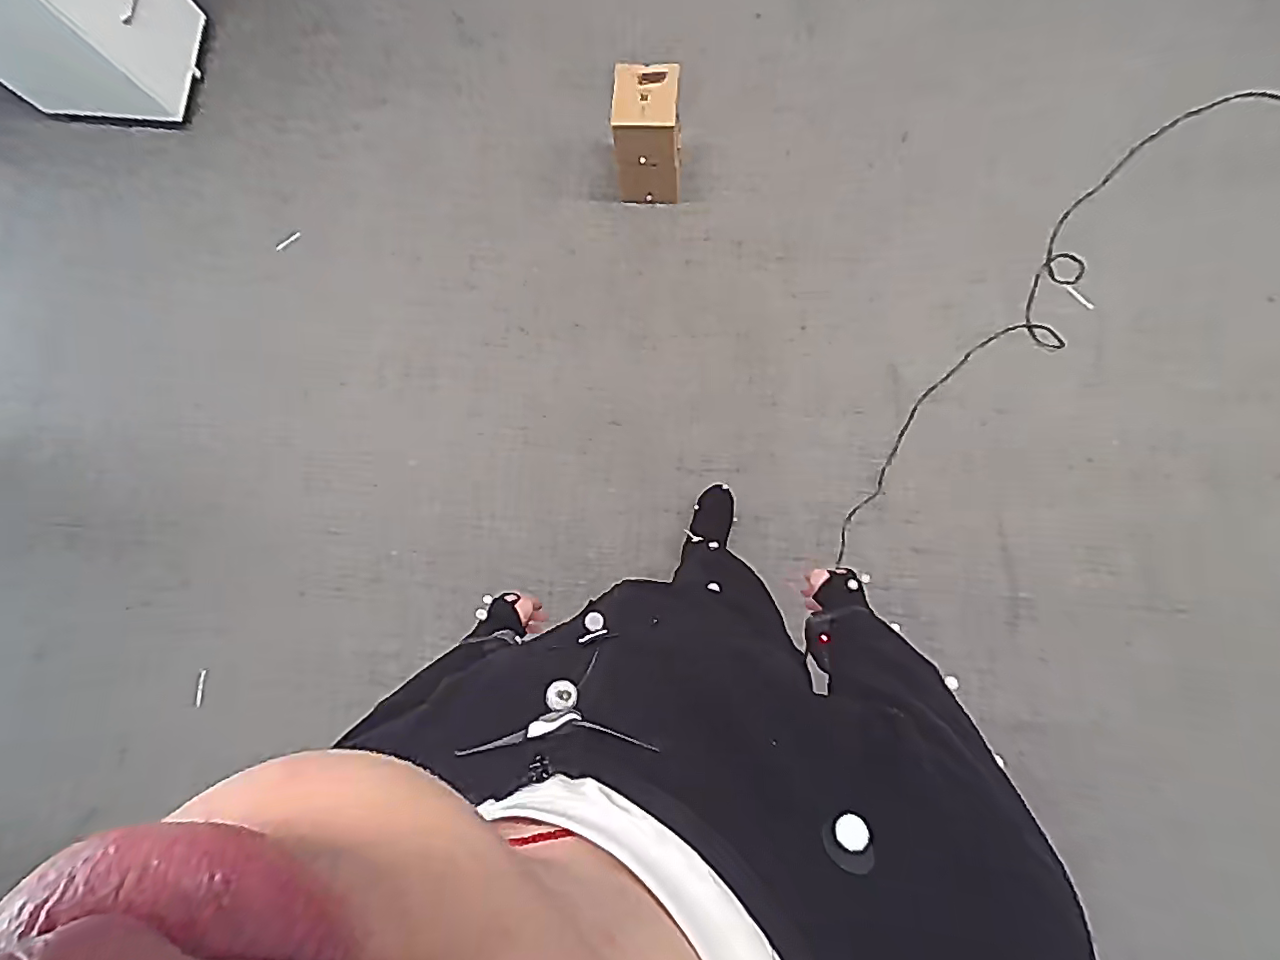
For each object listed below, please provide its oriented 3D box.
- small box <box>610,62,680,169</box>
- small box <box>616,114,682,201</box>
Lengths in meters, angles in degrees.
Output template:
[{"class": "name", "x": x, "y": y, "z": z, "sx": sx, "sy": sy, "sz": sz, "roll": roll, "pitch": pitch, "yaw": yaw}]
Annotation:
[{"class": "small box", "x": 0.018, "y": -0.976, "z": 1.454, "sx": 0.168, "sy": 0.176, "sz": 0.179, "roll": 4, "pitch": 84, "yaw": 5}, {"class": "small box", "x": 0.031, "y": -0.963, "z": 1.619, "sx": 0.179, "sy": 0.176, "sz": 0.168, "roll": 5, "pitch": 83, "yaw": 5}]
